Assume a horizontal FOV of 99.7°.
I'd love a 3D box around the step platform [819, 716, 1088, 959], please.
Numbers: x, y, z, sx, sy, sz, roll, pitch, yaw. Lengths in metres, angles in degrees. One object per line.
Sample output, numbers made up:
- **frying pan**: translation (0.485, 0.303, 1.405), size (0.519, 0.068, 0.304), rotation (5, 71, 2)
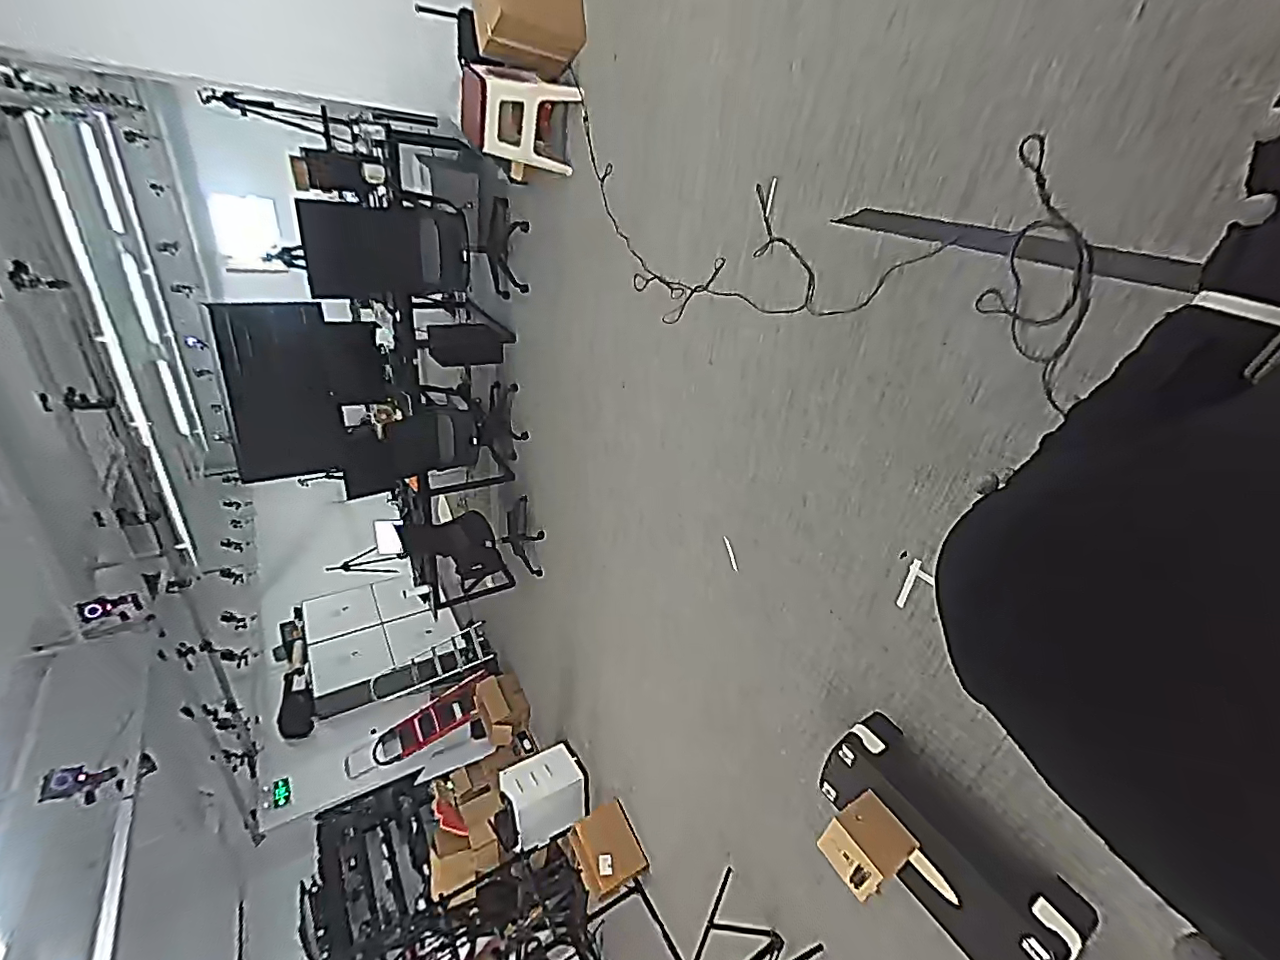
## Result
- **step platform**: translation (0.852, 1.061, 1.581), size (0.684, 0.204, 0.286), rotation (41, 134, 44)
